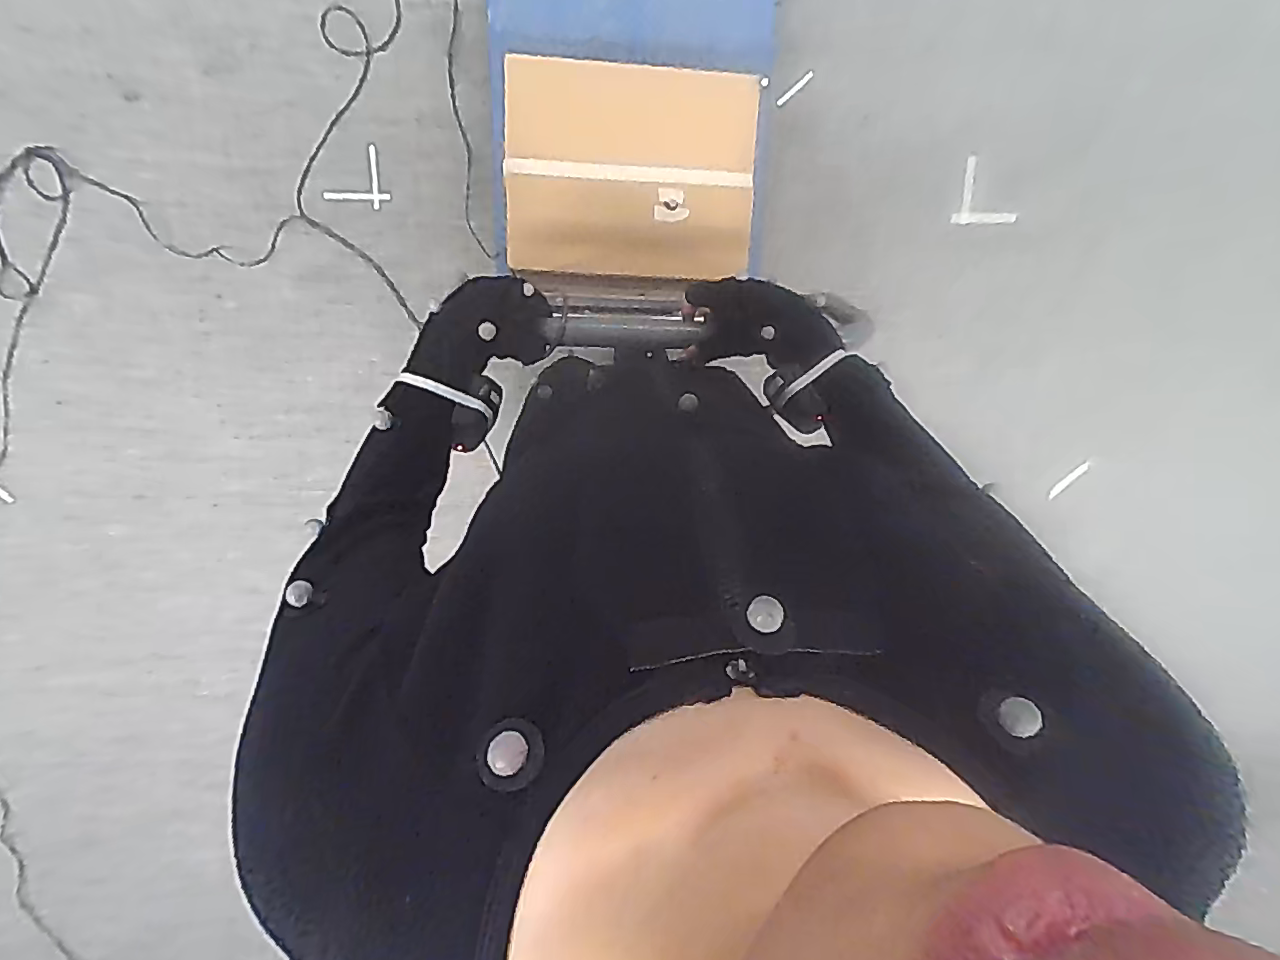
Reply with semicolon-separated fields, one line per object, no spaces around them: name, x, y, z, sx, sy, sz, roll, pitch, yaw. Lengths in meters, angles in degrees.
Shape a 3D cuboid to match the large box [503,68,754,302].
large box;-0.032;-0.517;1.025;0.408;0.320;0.320;1;103;-6
